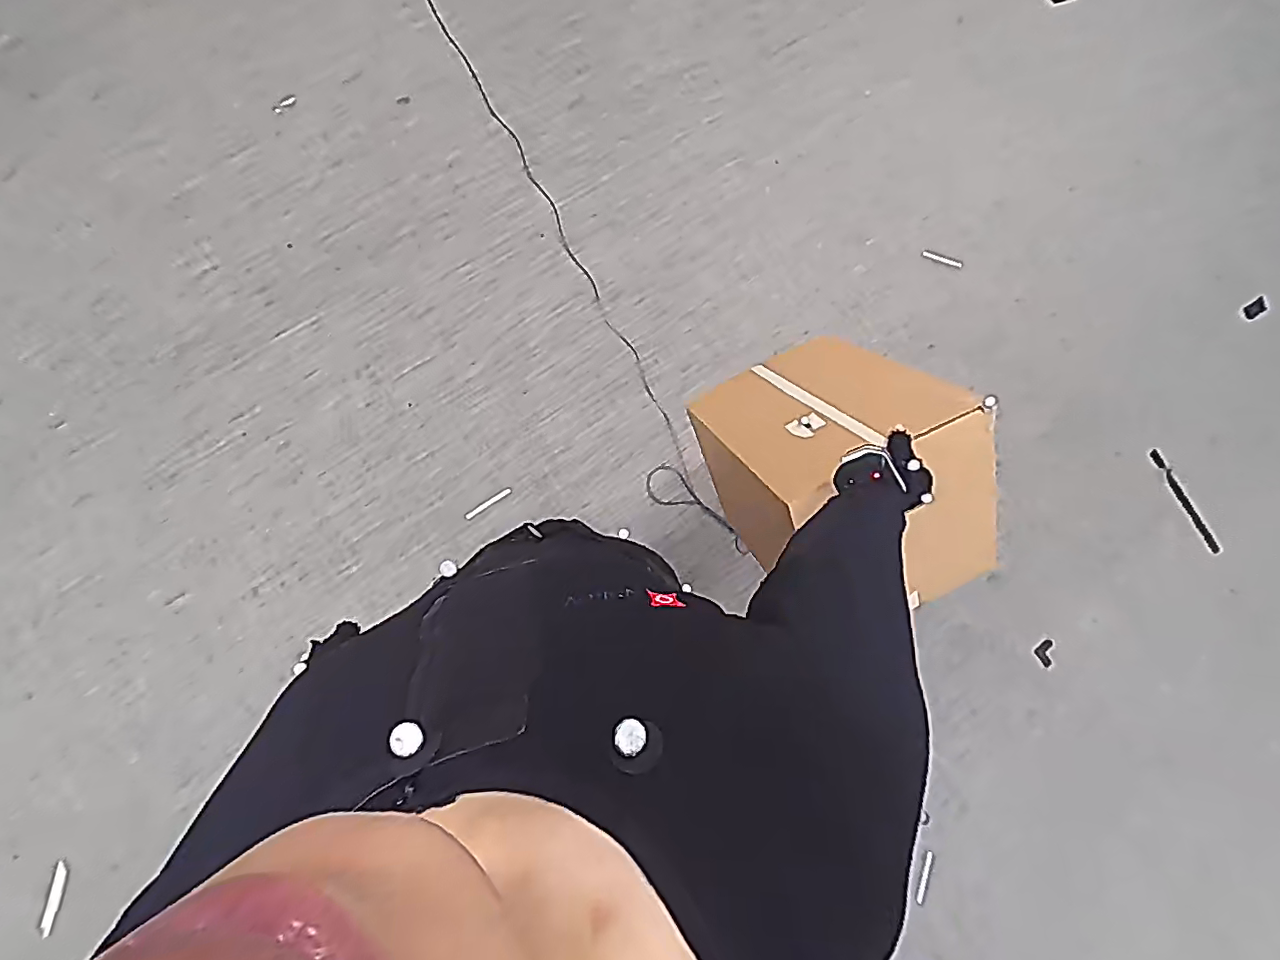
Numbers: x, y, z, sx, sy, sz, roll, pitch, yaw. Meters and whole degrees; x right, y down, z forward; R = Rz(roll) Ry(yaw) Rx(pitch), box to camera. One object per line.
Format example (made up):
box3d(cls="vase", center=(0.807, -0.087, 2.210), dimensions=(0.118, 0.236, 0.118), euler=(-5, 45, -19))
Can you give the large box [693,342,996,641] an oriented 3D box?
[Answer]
box3d(cls="large box", center=(0.341, -0.003, 0.971), dimensions=(0.320, 0.408, 0.320), euler=(-26, 123, -3))
